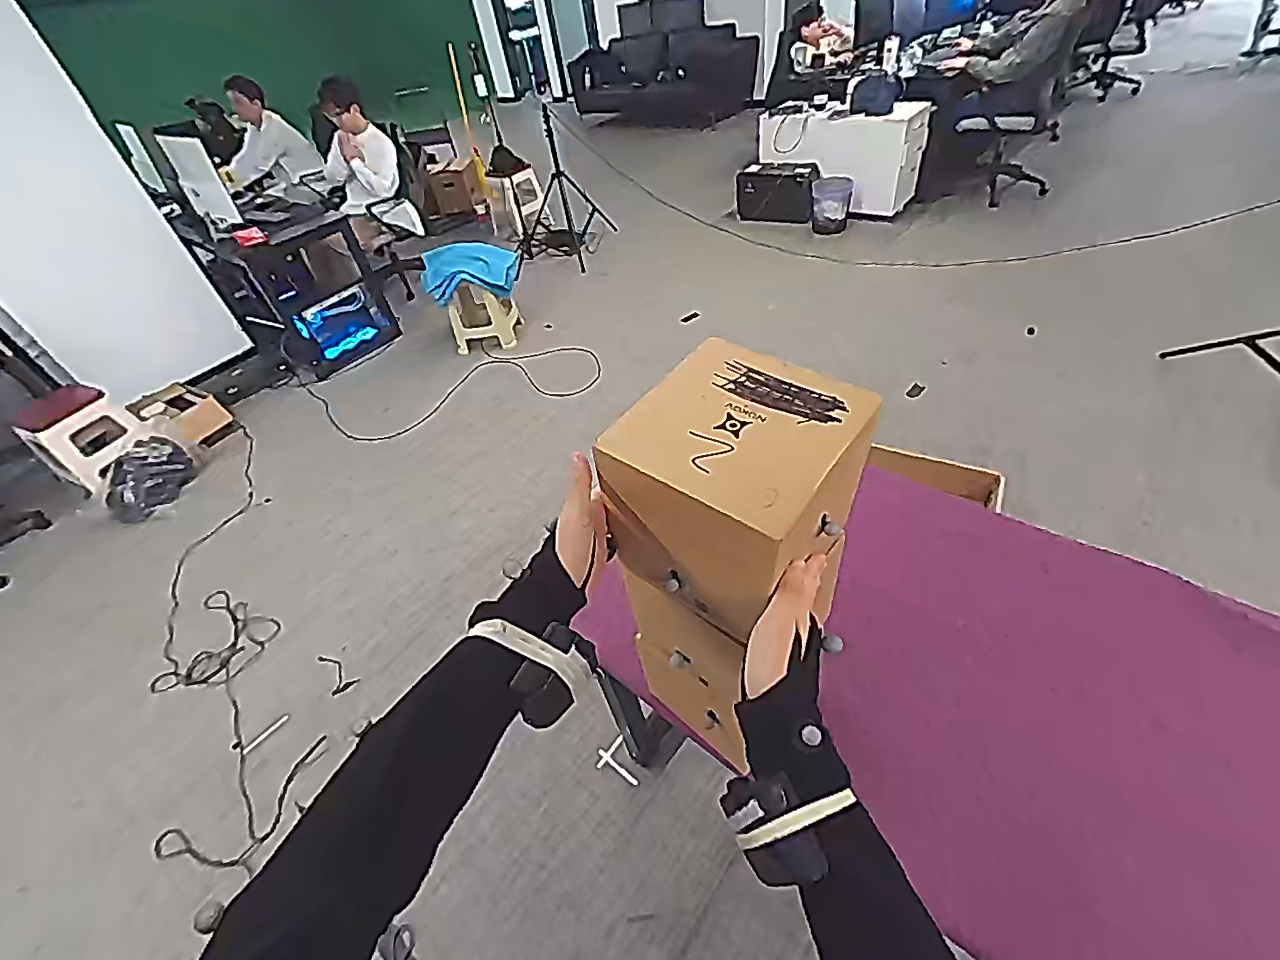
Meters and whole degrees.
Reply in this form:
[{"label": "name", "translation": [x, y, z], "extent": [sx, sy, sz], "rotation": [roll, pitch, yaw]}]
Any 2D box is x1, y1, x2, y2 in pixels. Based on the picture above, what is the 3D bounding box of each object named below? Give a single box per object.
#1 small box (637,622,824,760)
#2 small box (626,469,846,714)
[{"label": "small box", "translation": [0.123, 0.245, 0.732], "extent": [0.179, 0.176, 0.168], "rotation": [30, 57, 35]}, {"label": "small box", "translation": [0.108, 0.125, 0.621], "extent": [0.168, 0.176, 0.179], "rotation": [30, 58, 34]}]
